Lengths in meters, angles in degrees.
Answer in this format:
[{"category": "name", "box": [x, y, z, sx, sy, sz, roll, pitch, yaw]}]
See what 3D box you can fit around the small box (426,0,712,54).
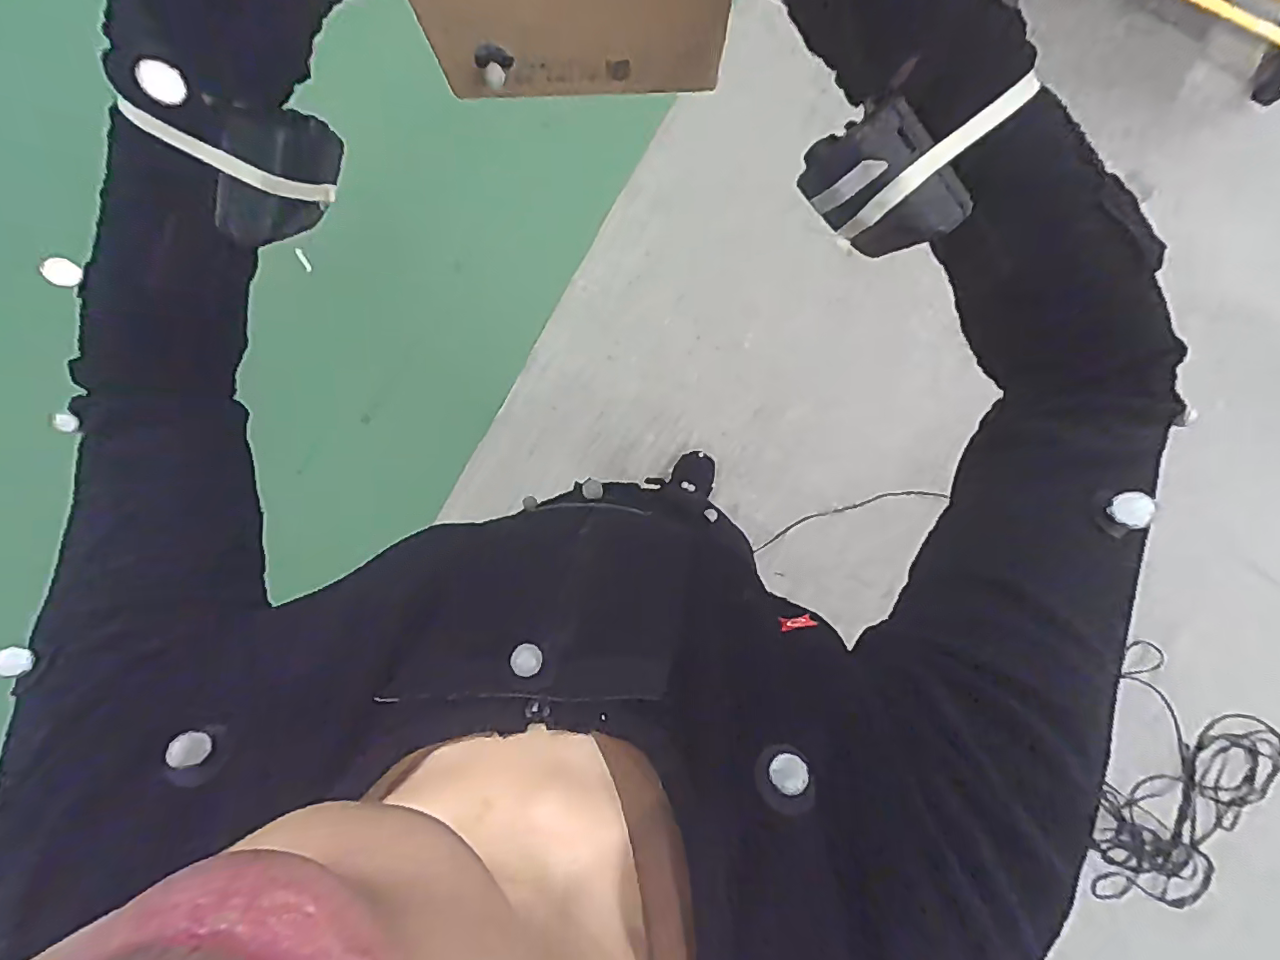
[{"category": "small box", "box": [-0.042, -0.346, 0.257, 0.168, 0.176, 0.179, -1, 87, 1]}]
